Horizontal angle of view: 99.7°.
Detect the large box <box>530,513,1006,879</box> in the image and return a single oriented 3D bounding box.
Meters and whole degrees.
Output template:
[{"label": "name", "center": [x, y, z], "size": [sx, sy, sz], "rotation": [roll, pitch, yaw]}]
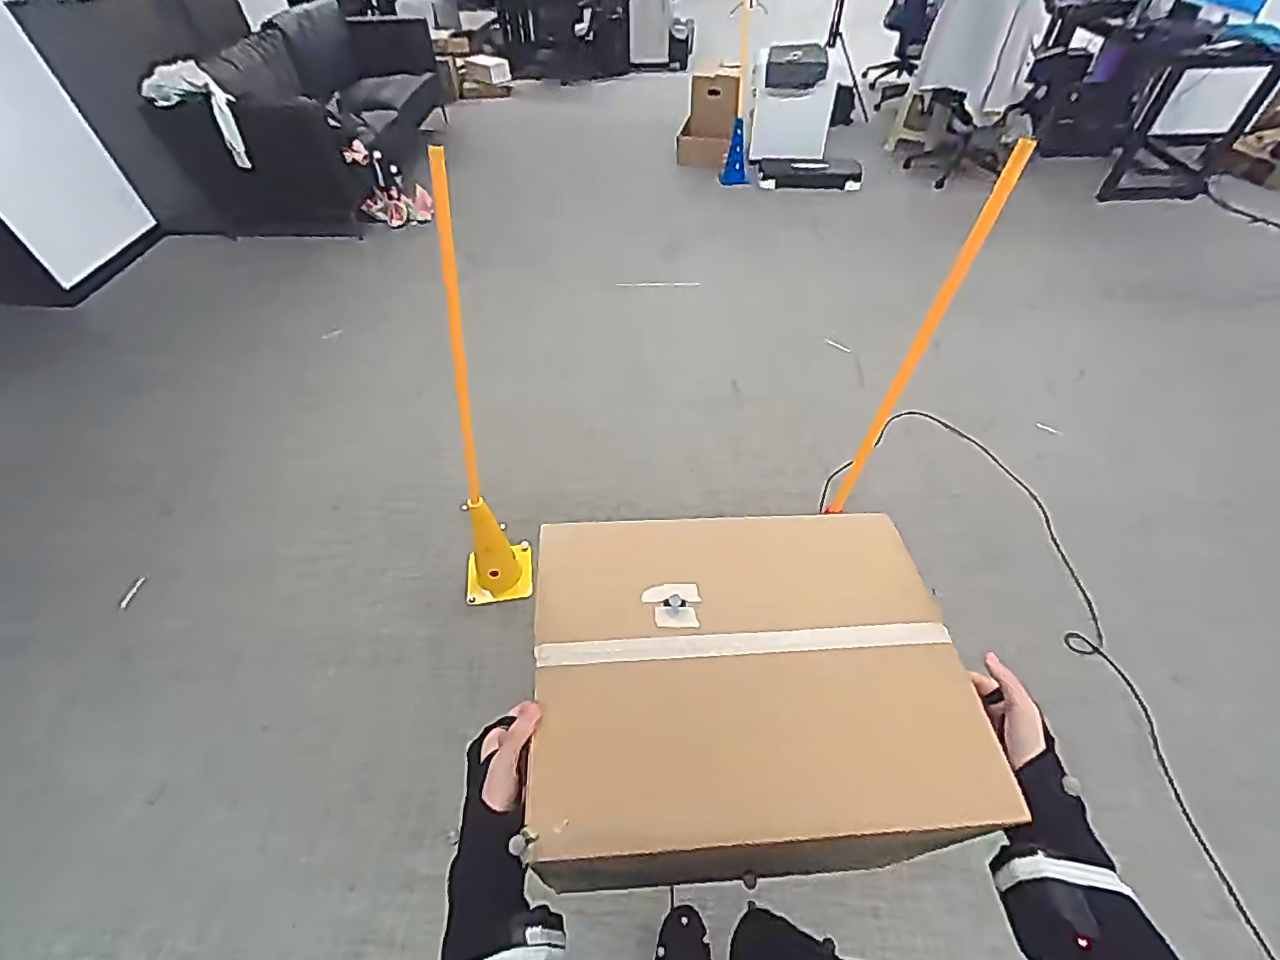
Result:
[{"label": "large box", "center": [0.096, 0.260, 0.643], "size": [0.408, 0.320, 0.320], "rotation": [-2, 49, -4]}]
